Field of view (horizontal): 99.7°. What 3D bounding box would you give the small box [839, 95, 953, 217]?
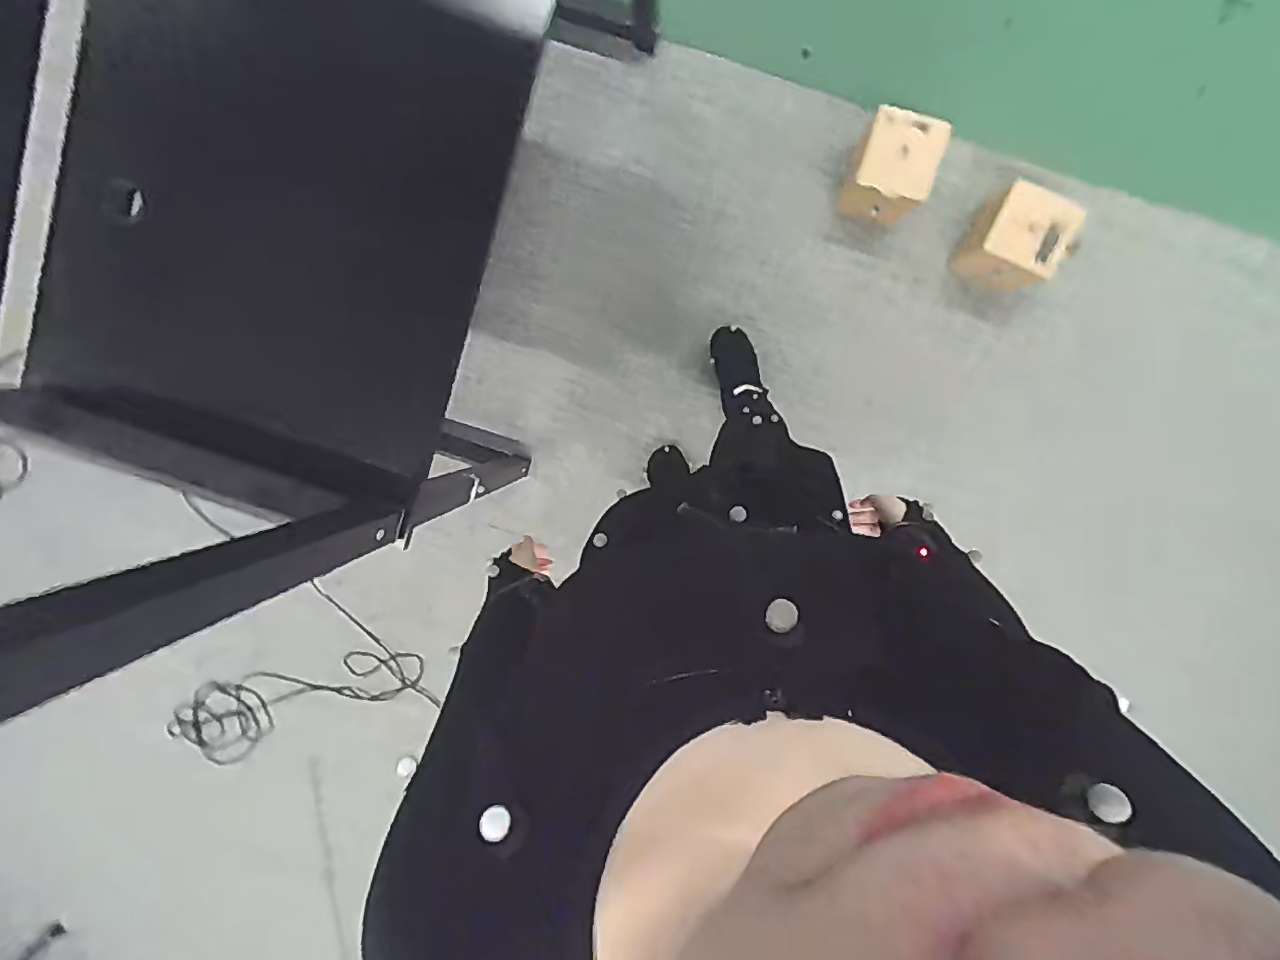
[{"bbox_3d":[0.587,-0.747,1.268,0.168,0.176,0.179,17,98,1],"label":"small box"}]
